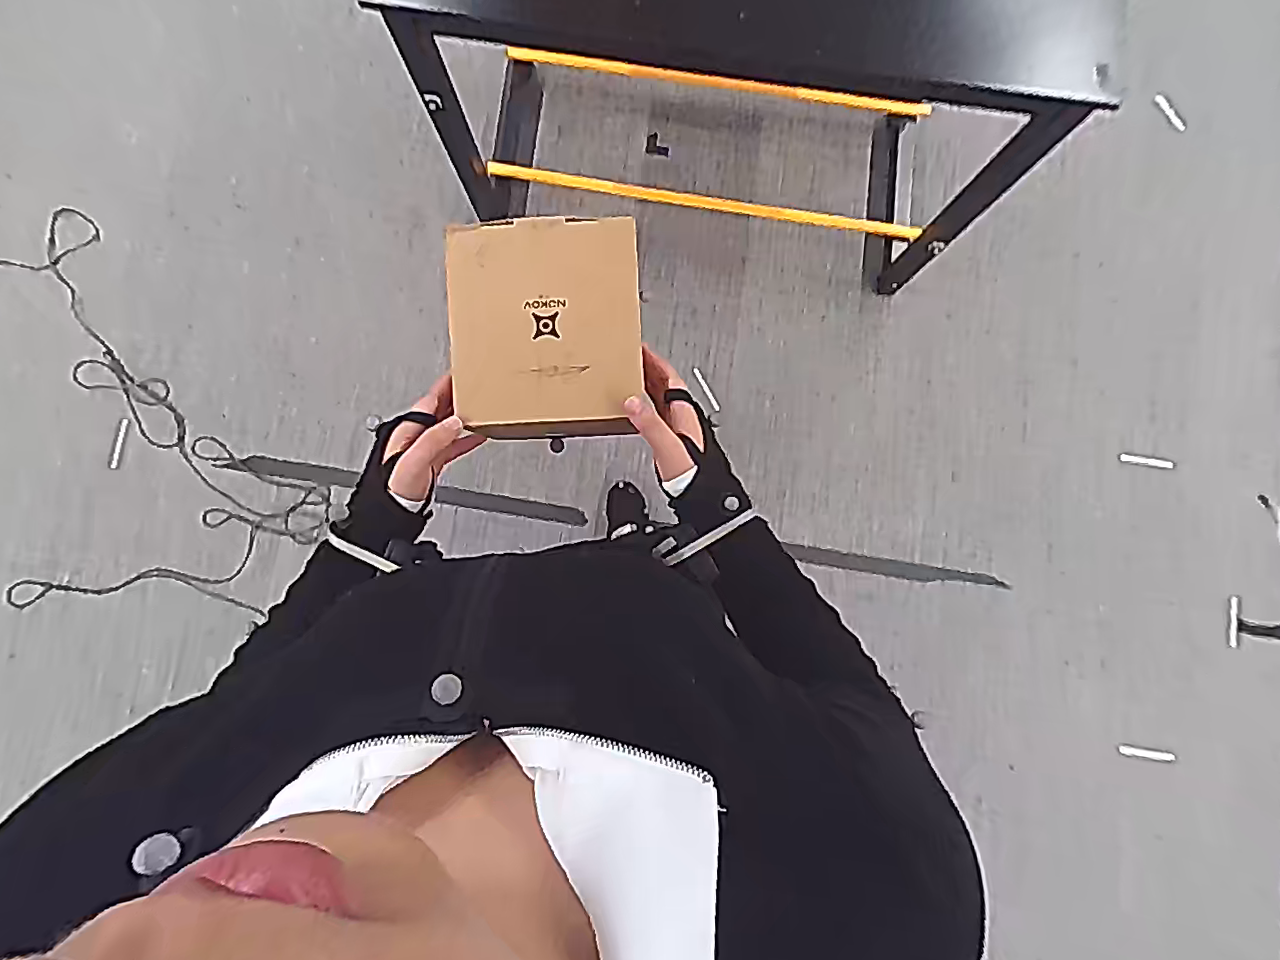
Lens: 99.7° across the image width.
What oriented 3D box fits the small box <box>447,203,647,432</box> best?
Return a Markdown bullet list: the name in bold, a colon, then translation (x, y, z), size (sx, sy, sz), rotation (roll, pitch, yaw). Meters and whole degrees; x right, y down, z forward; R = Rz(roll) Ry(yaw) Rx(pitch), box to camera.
- **small box**: translation (-0.082, -0.147, 0.540), size (0.168, 0.176, 0.179), rotation (-3, 90, -1)
